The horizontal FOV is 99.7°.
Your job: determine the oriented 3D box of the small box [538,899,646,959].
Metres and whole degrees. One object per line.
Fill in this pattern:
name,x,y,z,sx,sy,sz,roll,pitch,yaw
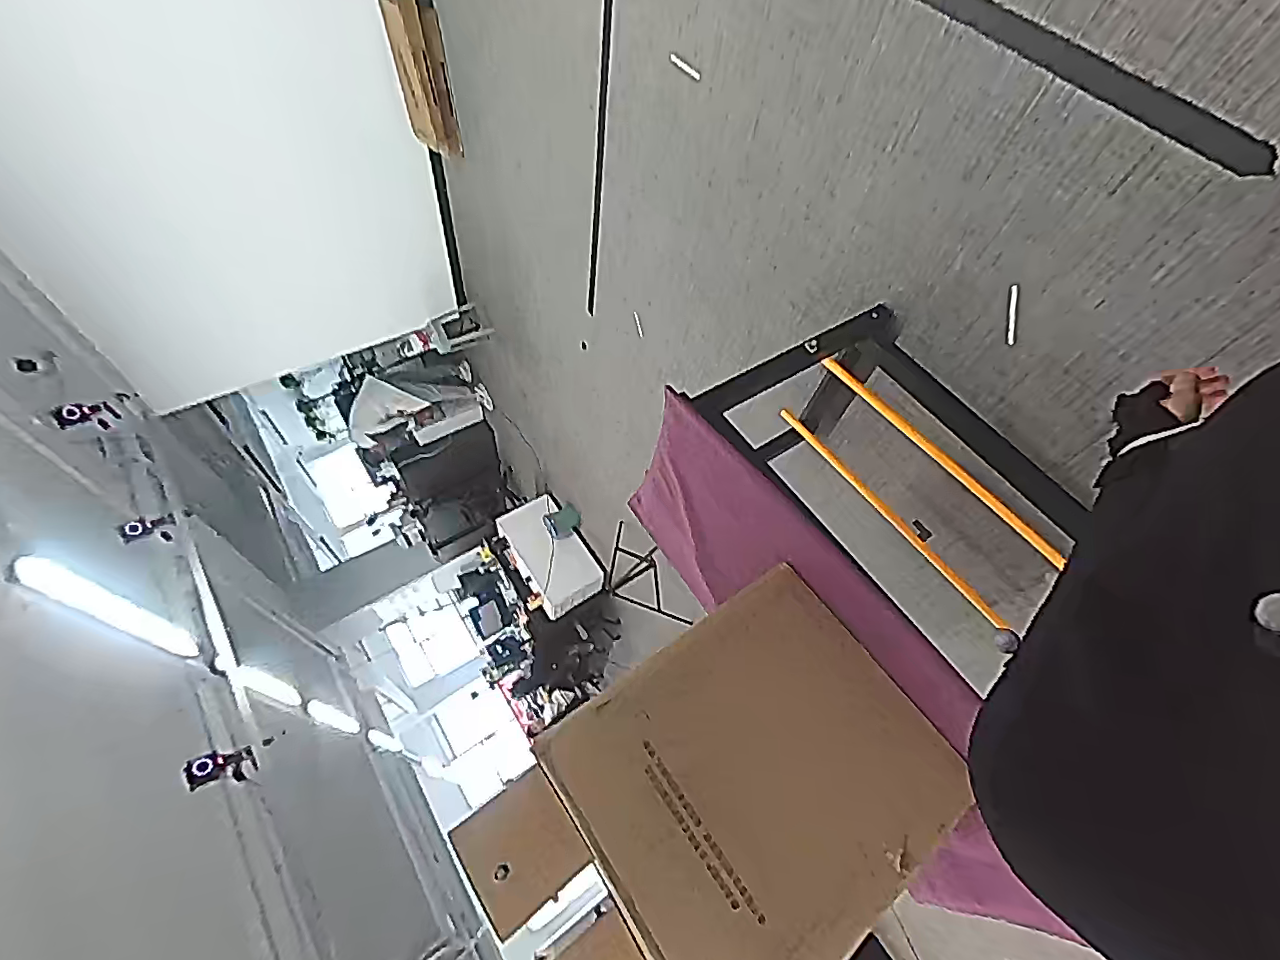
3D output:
small box,-0.066,0.889,0.948,0.179,0.176,0.168,52,156,18
